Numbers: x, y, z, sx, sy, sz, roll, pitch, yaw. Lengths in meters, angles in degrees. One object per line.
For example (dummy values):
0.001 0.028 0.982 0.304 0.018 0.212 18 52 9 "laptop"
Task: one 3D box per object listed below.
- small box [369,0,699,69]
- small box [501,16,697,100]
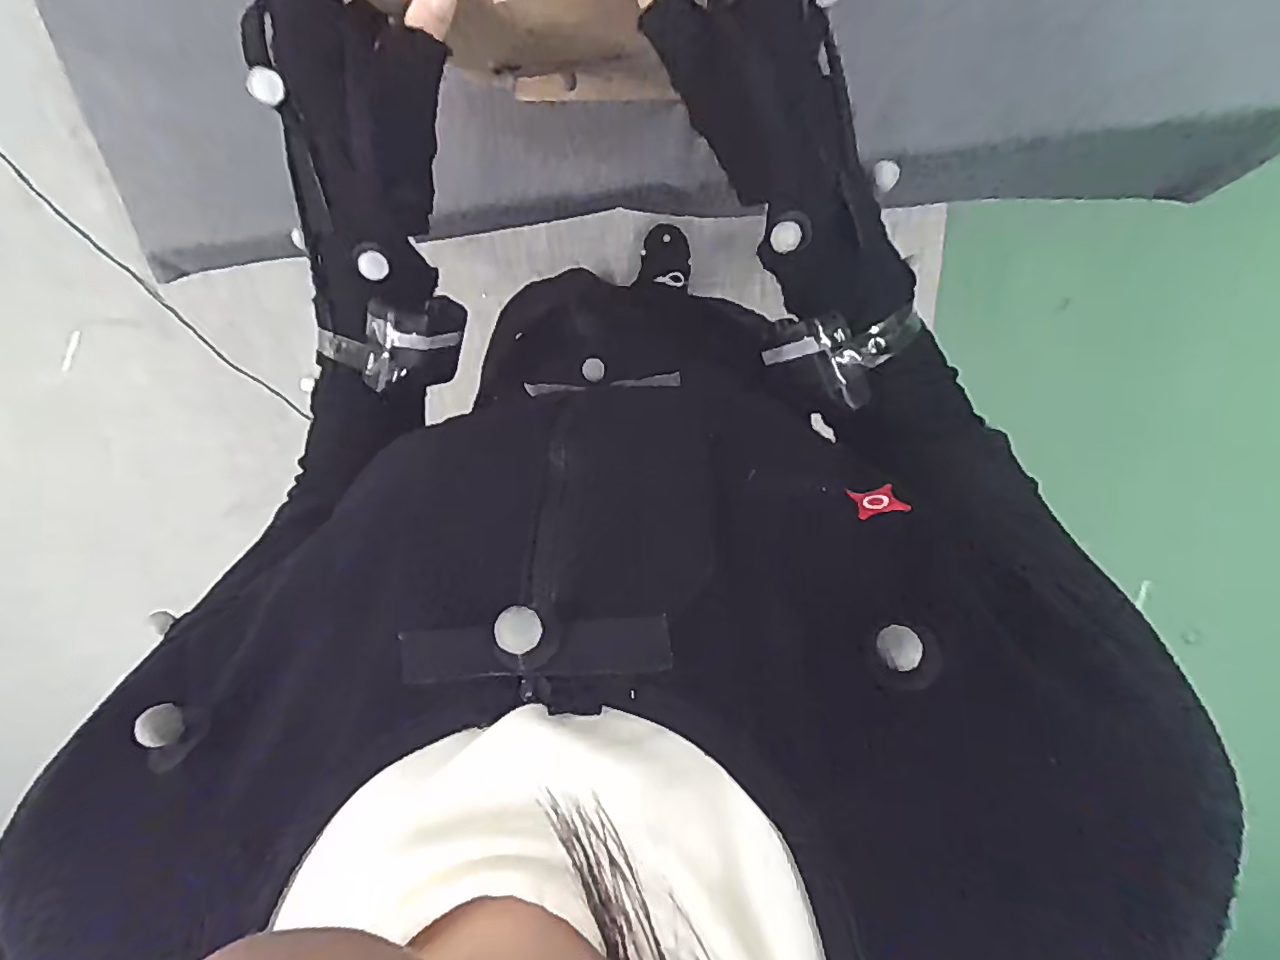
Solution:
-0.057 -0.347 0.284 0.168 0.176 0.179 -6 114 8 "small box"
-0.043 -0.426 0.431 0.179 0.176 0.168 -1 112 5 "small box"
